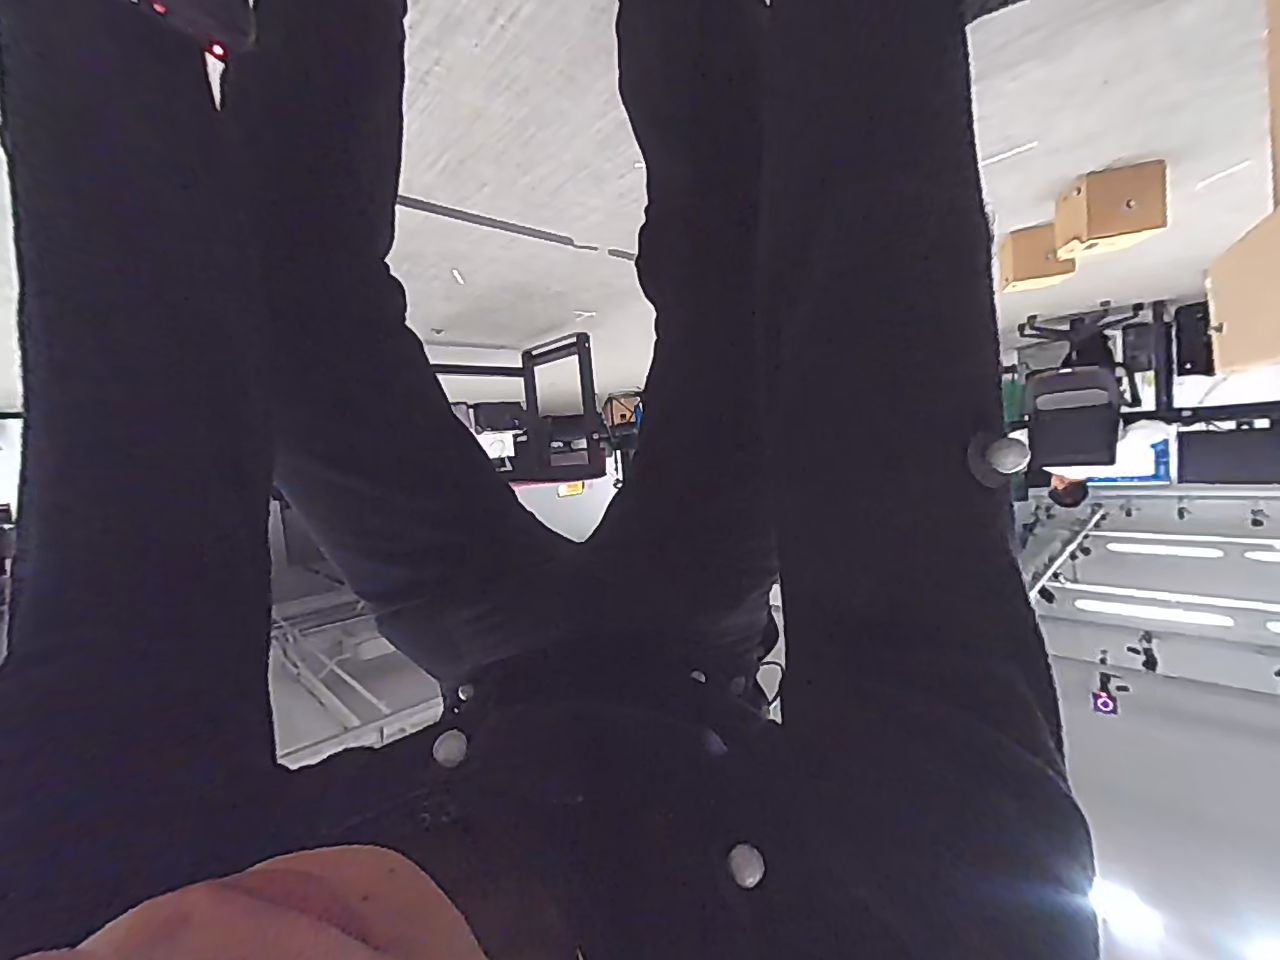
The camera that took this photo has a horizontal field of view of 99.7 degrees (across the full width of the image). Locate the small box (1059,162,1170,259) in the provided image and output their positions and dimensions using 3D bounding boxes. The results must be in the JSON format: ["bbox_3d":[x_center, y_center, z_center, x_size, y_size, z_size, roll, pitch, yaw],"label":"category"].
[{"bbox_3d":[1.259,-0.718,1.449,0.179,0.176,0.168,-5,-176,15],"label":"small box"}]

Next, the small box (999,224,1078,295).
[{"bbox_3d":[1.346,-0.748,1.834,0.179,0.176,0.168,-5,-177,22],"label":"small box"}]
